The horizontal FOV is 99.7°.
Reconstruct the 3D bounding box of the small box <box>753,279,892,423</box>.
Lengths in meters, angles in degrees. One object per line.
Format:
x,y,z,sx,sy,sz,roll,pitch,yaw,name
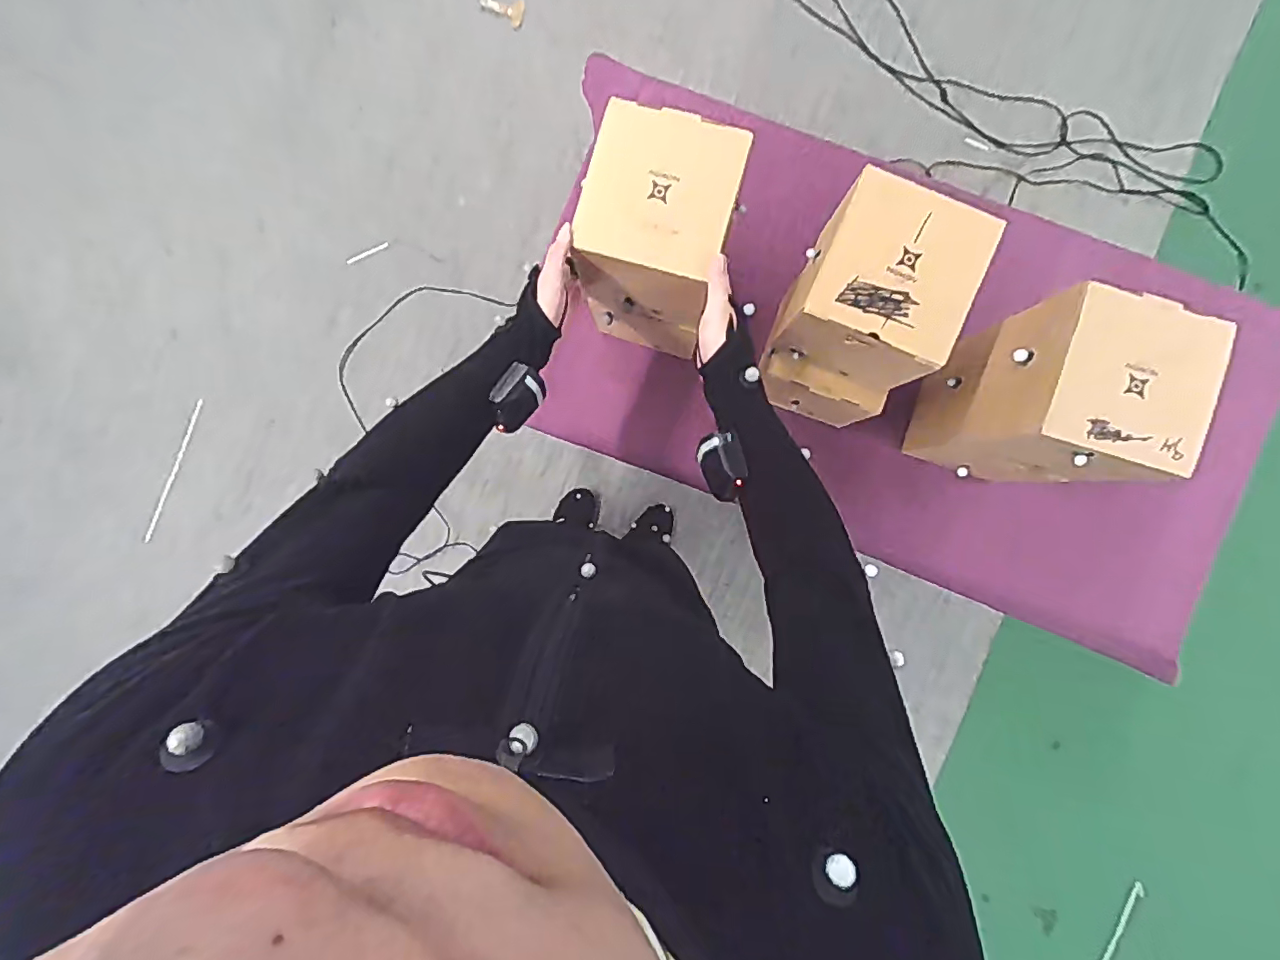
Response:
0.285,-0.200,0.824,0.168,0.176,0.179,19,91,1,small box

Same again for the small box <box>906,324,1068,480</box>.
0.533,-0.106,0.815,0.168,0.176,0.179,18,90,2,small box

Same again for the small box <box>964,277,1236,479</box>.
0.530,-0.108,0.651,0.168,0.176,0.179,17,89,2,small box

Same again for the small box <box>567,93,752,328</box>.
0.023,-0.310,0.657,0.168,0.176,0.179,15,89,3,small box

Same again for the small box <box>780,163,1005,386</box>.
0.287,-0.232,0.661,0.168,0.176,0.179,23,90,2,small box
